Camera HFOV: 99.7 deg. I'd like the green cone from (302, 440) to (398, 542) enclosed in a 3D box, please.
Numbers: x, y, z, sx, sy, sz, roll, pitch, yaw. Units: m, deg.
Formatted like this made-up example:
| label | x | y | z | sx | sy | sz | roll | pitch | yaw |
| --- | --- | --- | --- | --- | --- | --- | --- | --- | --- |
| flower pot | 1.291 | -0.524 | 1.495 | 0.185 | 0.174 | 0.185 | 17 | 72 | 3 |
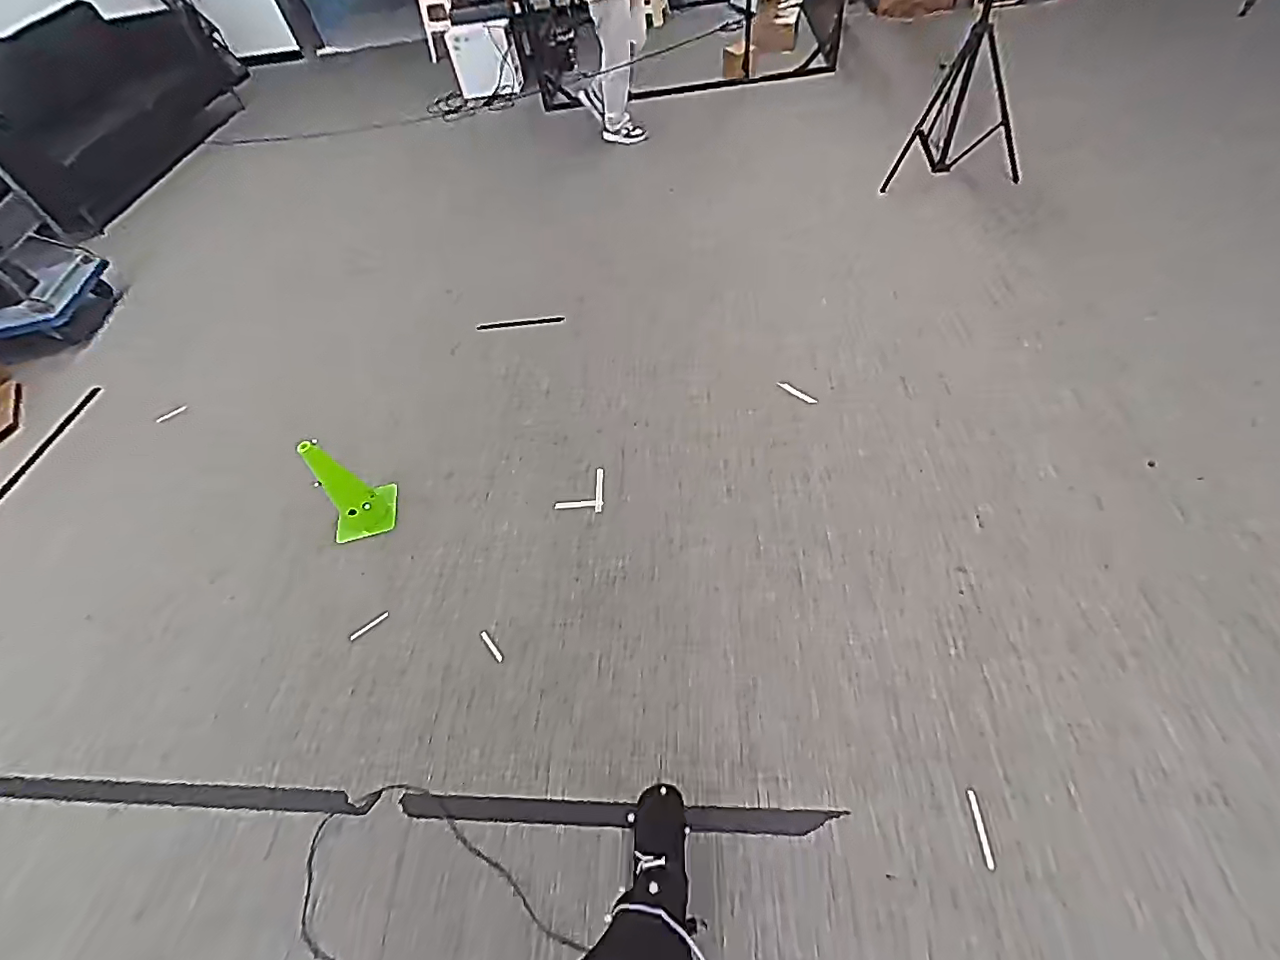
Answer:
| label | x | y | z | sx | sy | sz | roll | pitch | yaw |
| --- | --- | --- | --- | --- | --- | --- | --- | --- | --- |
| green cone | -0.949 | 0.010 | 1.713 | 0.202 | 0.368 | 0.200 | -14 | 53 | -3 |
